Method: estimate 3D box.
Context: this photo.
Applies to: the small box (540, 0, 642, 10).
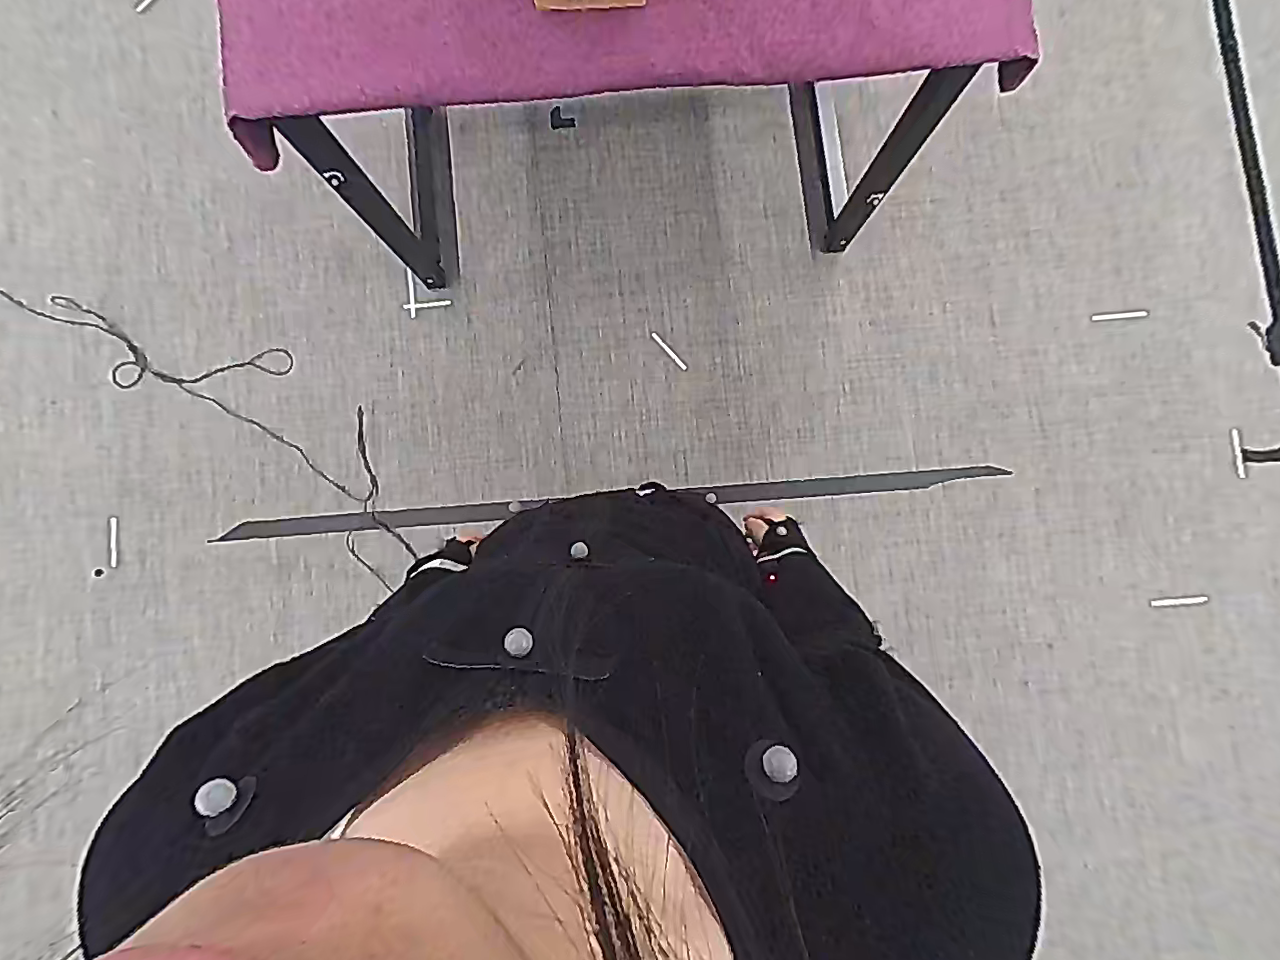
[{"bbox_3d":[-0.078,-0.802,0.740,0.168,0.176,0.179,-3,86,1],"label":"small box"}]
